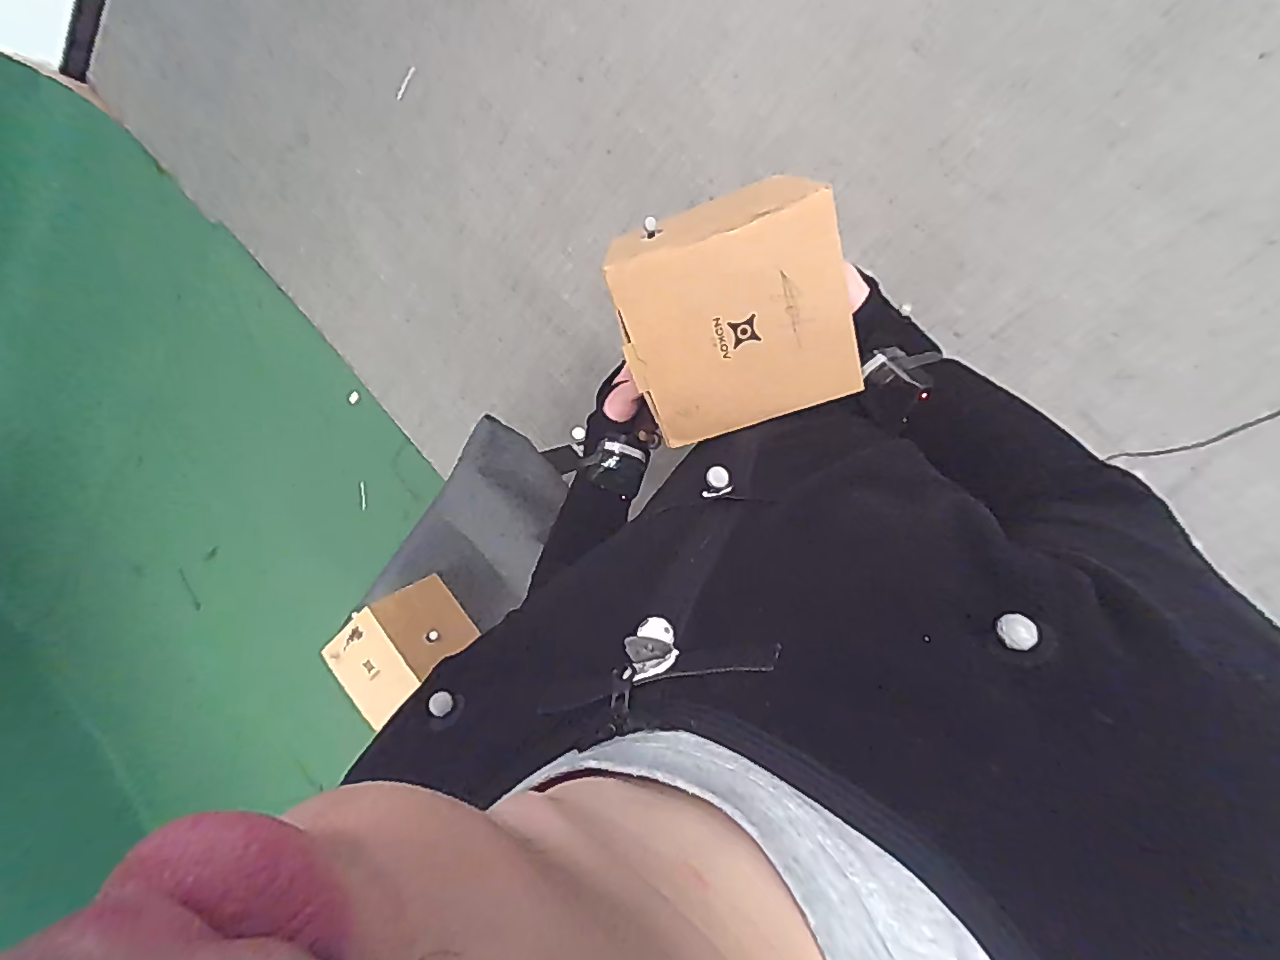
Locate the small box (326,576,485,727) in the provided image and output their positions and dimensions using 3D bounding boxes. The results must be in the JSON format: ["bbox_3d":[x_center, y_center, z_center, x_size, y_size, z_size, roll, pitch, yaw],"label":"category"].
[{"bbox_3d":[-0.423,0.307,0.998,0.168,0.176,0.179,-40,85,23],"label":"small box"}]
